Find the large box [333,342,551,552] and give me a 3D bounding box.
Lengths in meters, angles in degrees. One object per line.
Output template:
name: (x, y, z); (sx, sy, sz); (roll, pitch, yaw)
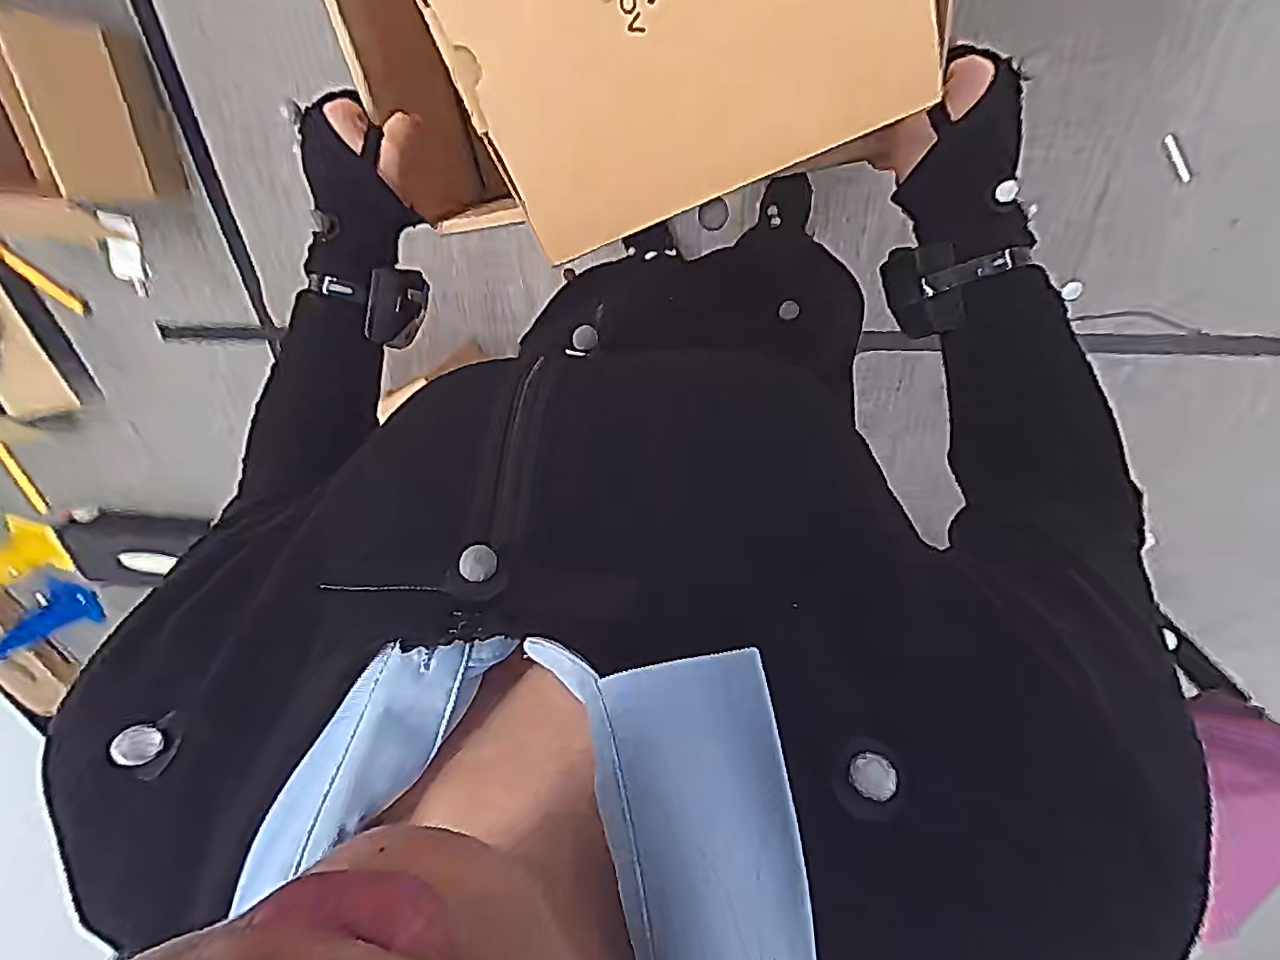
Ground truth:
large box: (-0.498, -0.091, 1.451); (0.320, 0.320, 0.408); (-23, 117, 19)
